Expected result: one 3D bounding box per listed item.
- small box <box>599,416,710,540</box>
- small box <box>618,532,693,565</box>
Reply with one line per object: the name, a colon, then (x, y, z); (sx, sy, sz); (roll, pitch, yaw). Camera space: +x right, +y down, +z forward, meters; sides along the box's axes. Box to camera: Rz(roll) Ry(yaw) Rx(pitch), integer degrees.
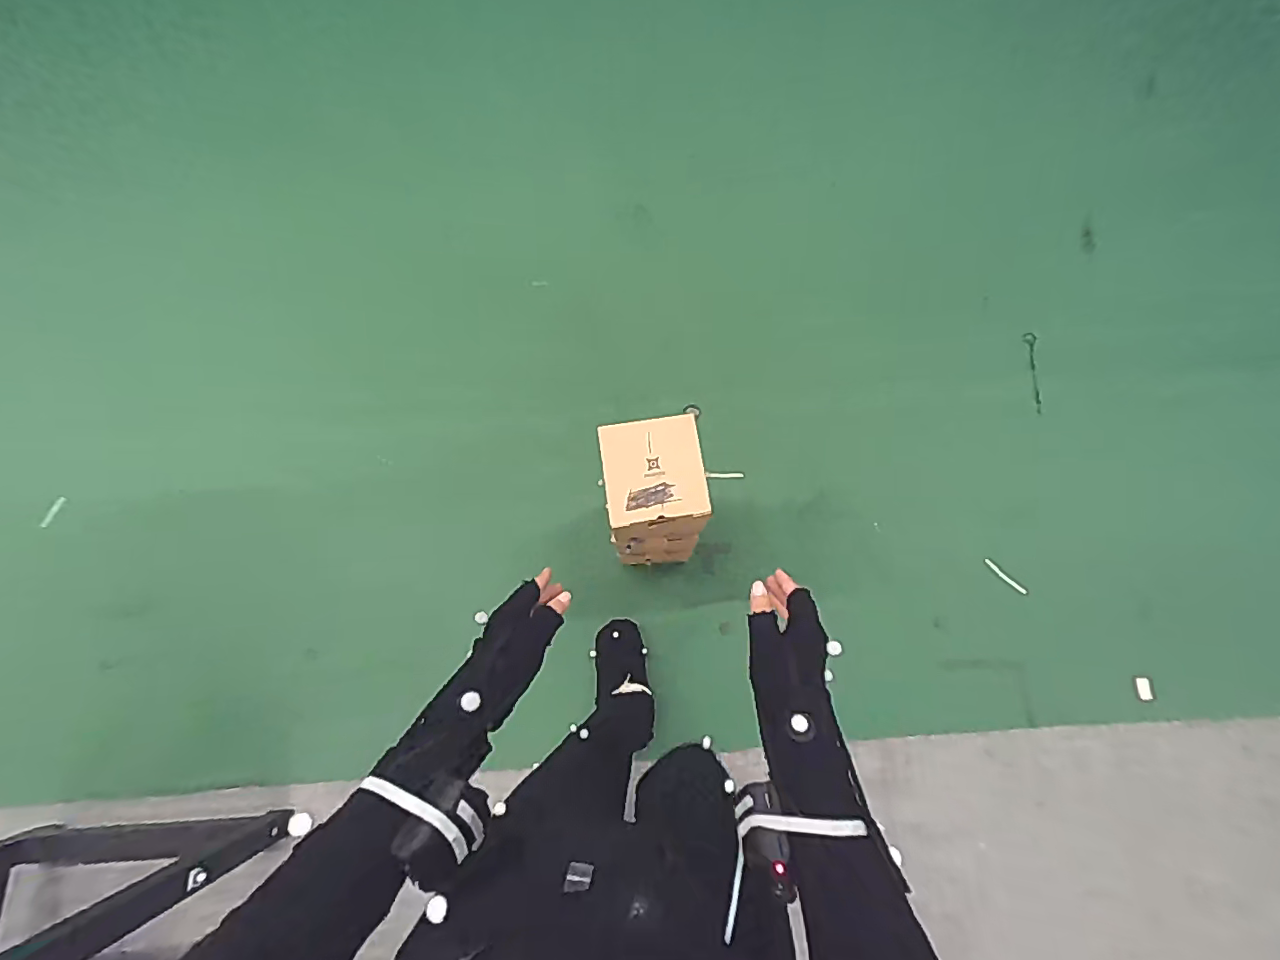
small box: (0.024, 0.006, 0.966); (0.168, 0.176, 0.179); (-8, 74, -2)
small box: (0.032, 0.103, 1.280); (0.168, 0.176, 0.179); (-3, 76, 0)
